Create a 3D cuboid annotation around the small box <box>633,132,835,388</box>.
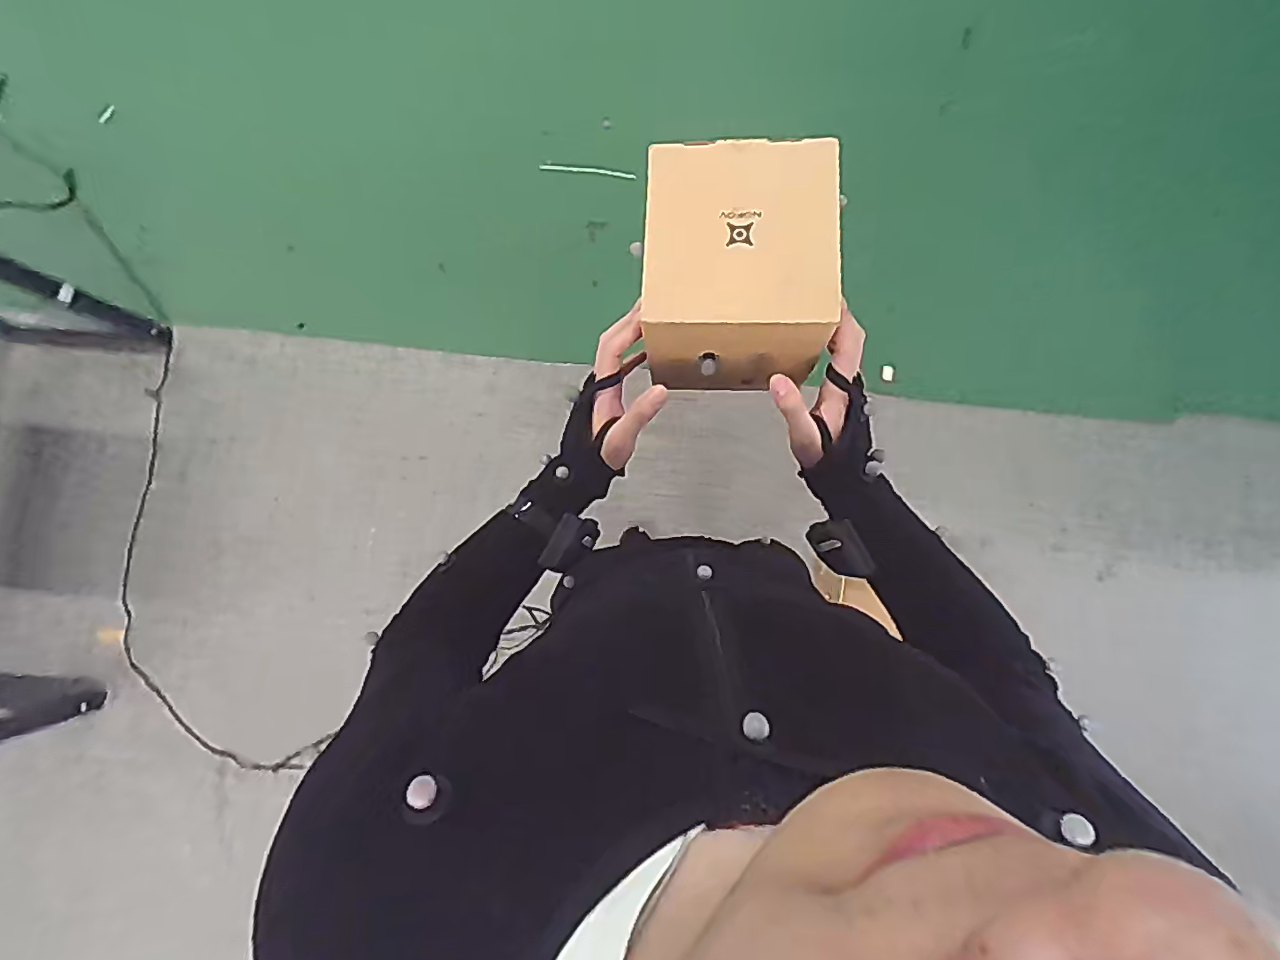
[{"bbox_3d":[0.088,-0.197,0.531,0.168,0.176,0.179,1,79,6],"label":"small box"}]
